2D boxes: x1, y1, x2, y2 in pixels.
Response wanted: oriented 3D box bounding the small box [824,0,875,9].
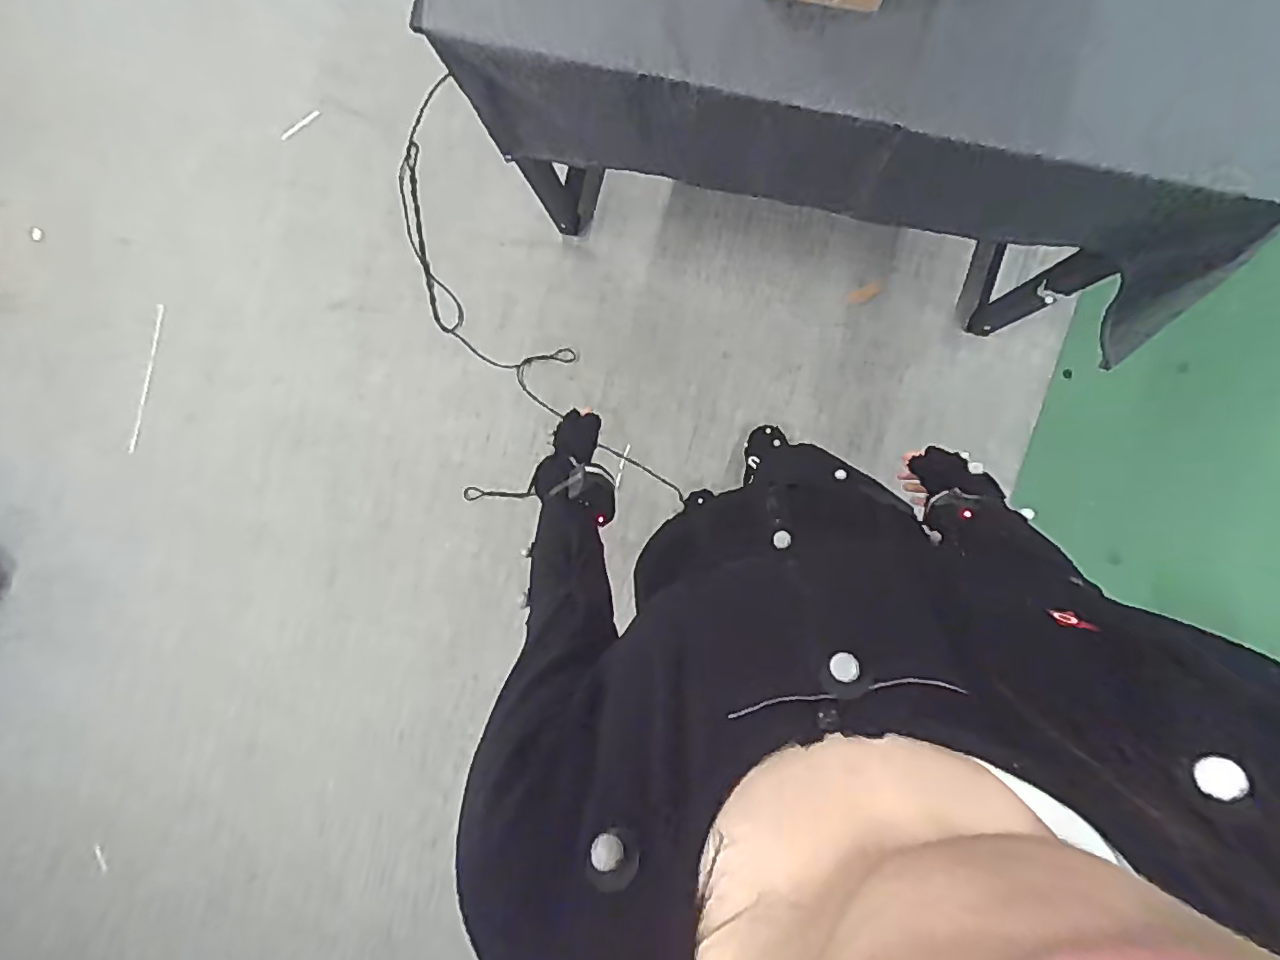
[{"bbox_3d":[0.246,-0.726,0.649,0.168,0.176,0.179,16,92,7],"label":"small box"}]
